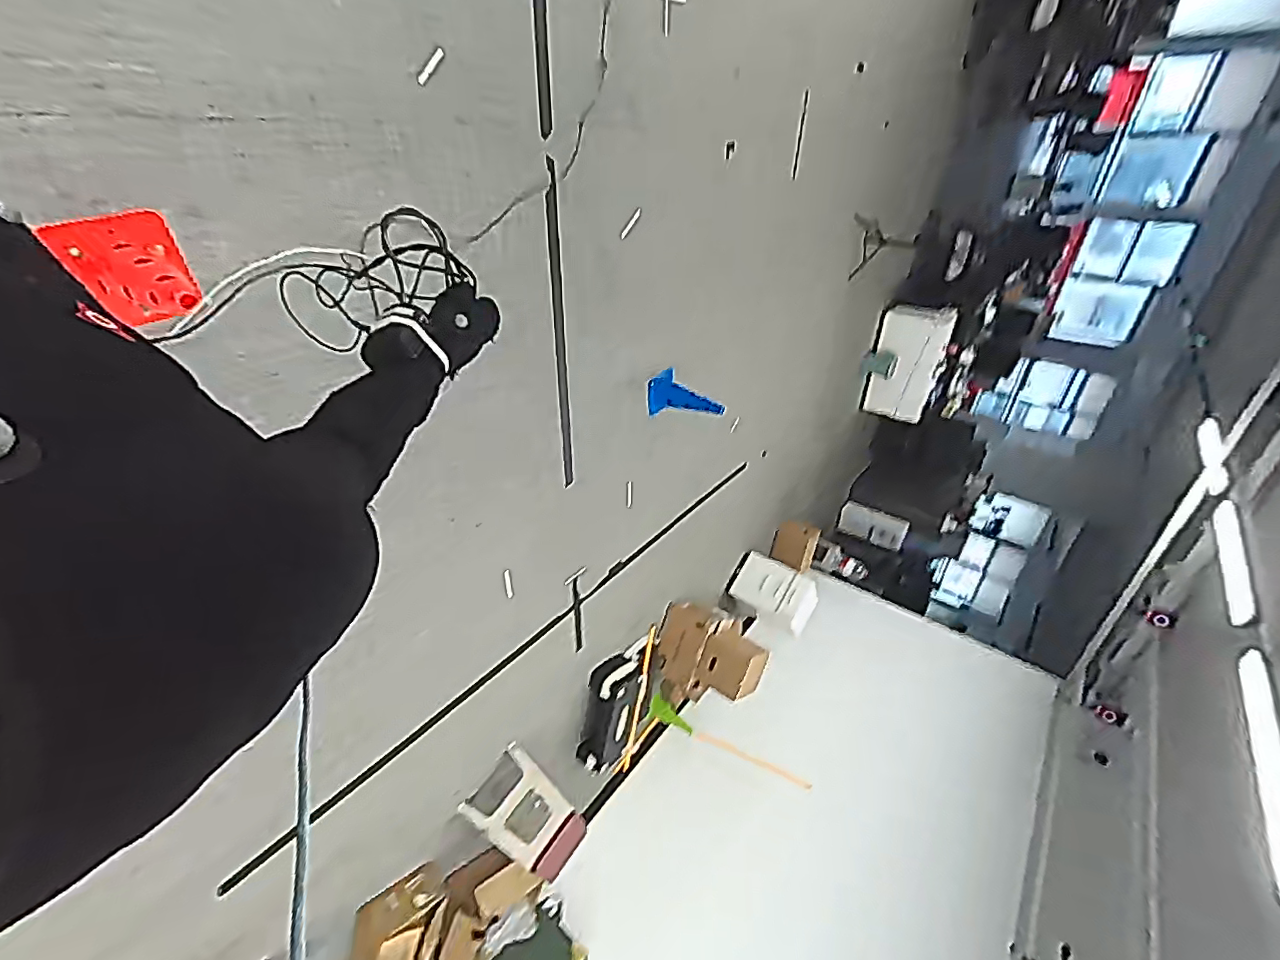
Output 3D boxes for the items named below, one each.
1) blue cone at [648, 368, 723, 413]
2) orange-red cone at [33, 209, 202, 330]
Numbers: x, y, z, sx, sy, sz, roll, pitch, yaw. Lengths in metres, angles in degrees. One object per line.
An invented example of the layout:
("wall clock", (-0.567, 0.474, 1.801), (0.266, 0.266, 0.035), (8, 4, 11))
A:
("blue cone", (0.230, -0.393, 2.582), (0.192, 0.380, 0.193), (-38, 139, -38))
("orange-red cone", (-0.864, -0.348, 0.960), (0.198, 0.360, 0.199), (-37, 139, -38))
